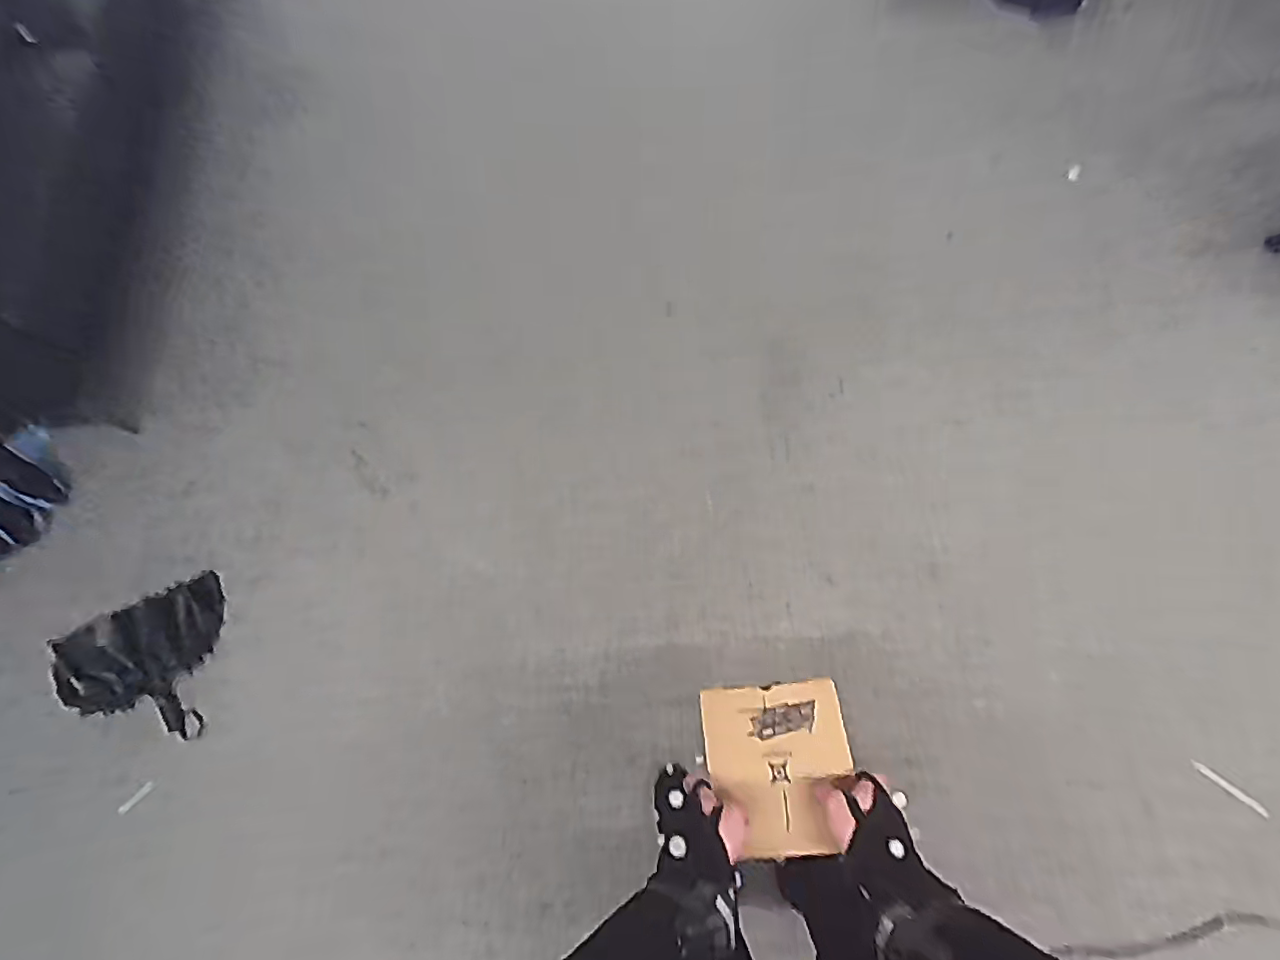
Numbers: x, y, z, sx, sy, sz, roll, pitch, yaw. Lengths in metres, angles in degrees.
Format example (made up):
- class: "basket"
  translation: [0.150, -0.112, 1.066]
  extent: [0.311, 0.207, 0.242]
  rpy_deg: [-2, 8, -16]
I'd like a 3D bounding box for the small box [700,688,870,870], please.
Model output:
- class: "small box"
  translation: [0.167, 0.376, 0.686]
  extent: [0.168, 0.176, 0.179]
  rpy_deg: [-8, 60, 5]
